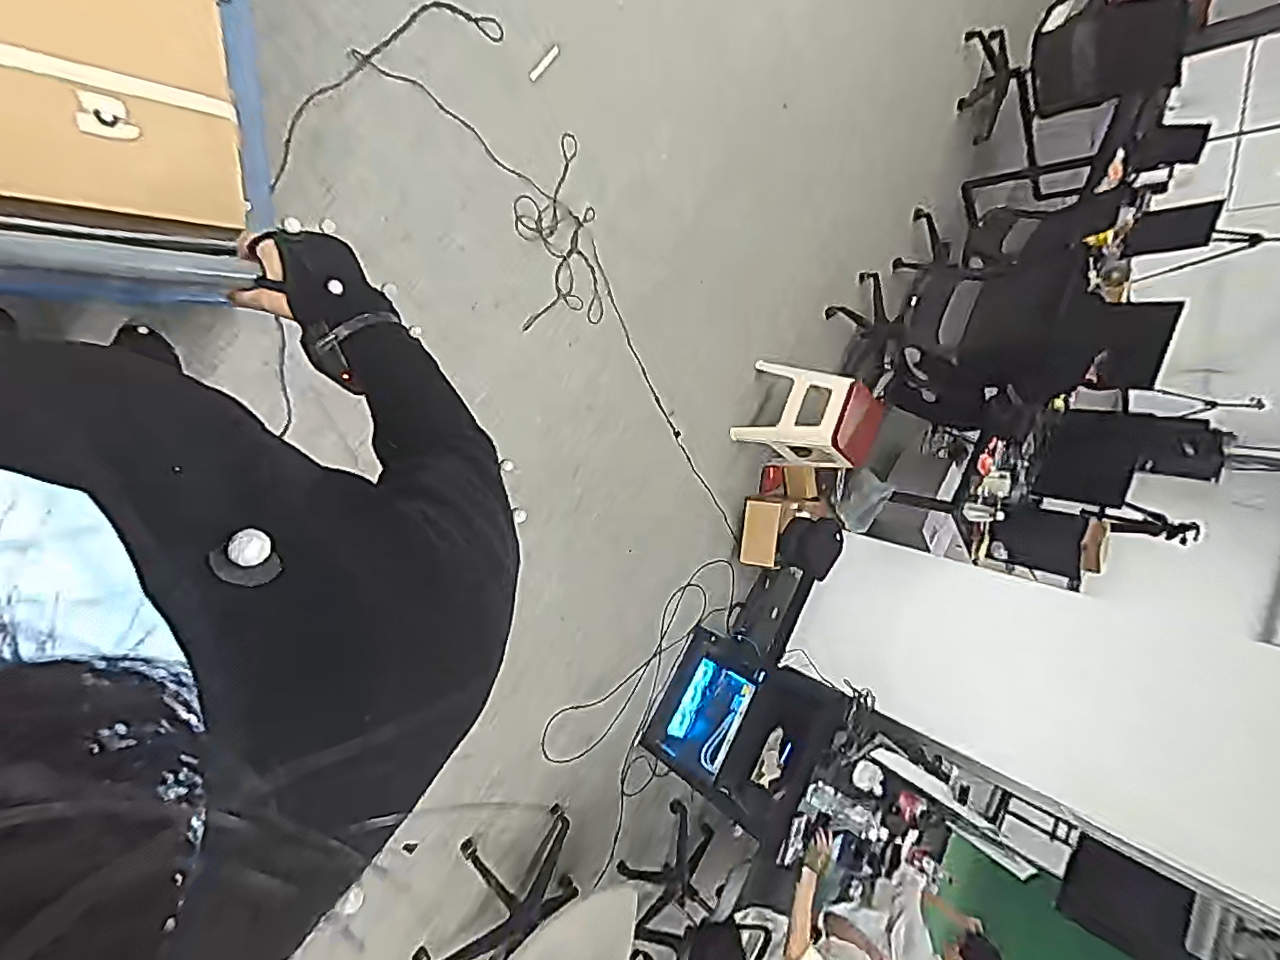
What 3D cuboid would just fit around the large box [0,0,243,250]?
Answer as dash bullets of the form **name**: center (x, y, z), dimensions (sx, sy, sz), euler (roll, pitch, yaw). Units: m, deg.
- **large box**: center (-0.839, -0.525, 0.748), dimensions (0.408, 0.320, 0.320), euler (-10, 108, -42)
